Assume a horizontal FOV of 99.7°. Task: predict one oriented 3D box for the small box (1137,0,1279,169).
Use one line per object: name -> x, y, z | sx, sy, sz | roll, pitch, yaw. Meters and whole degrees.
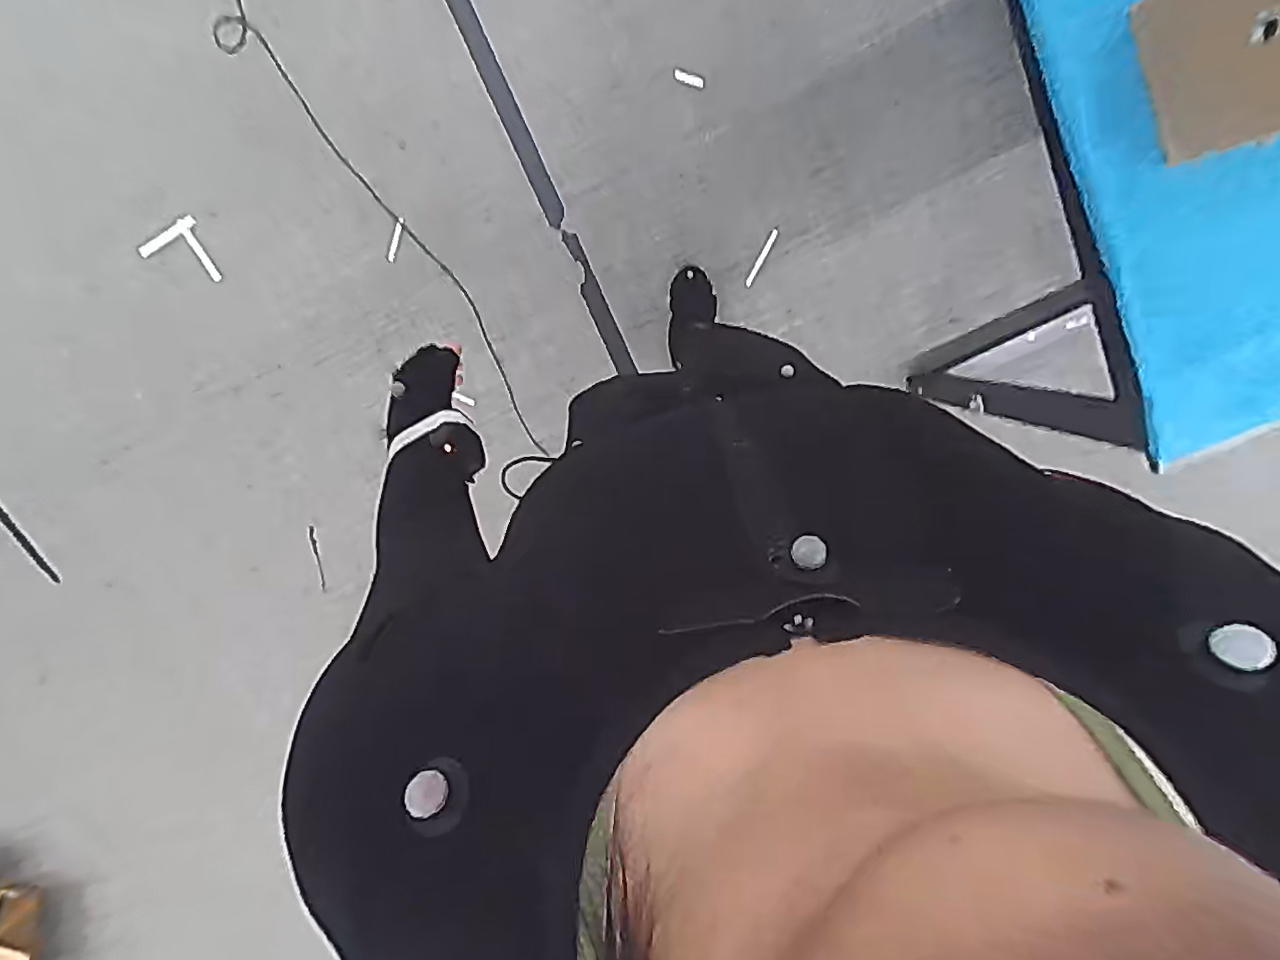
small box -> 0.619, -0.429, 0.499 | 0.168, 0.176, 0.179 | -25, 103, 9
